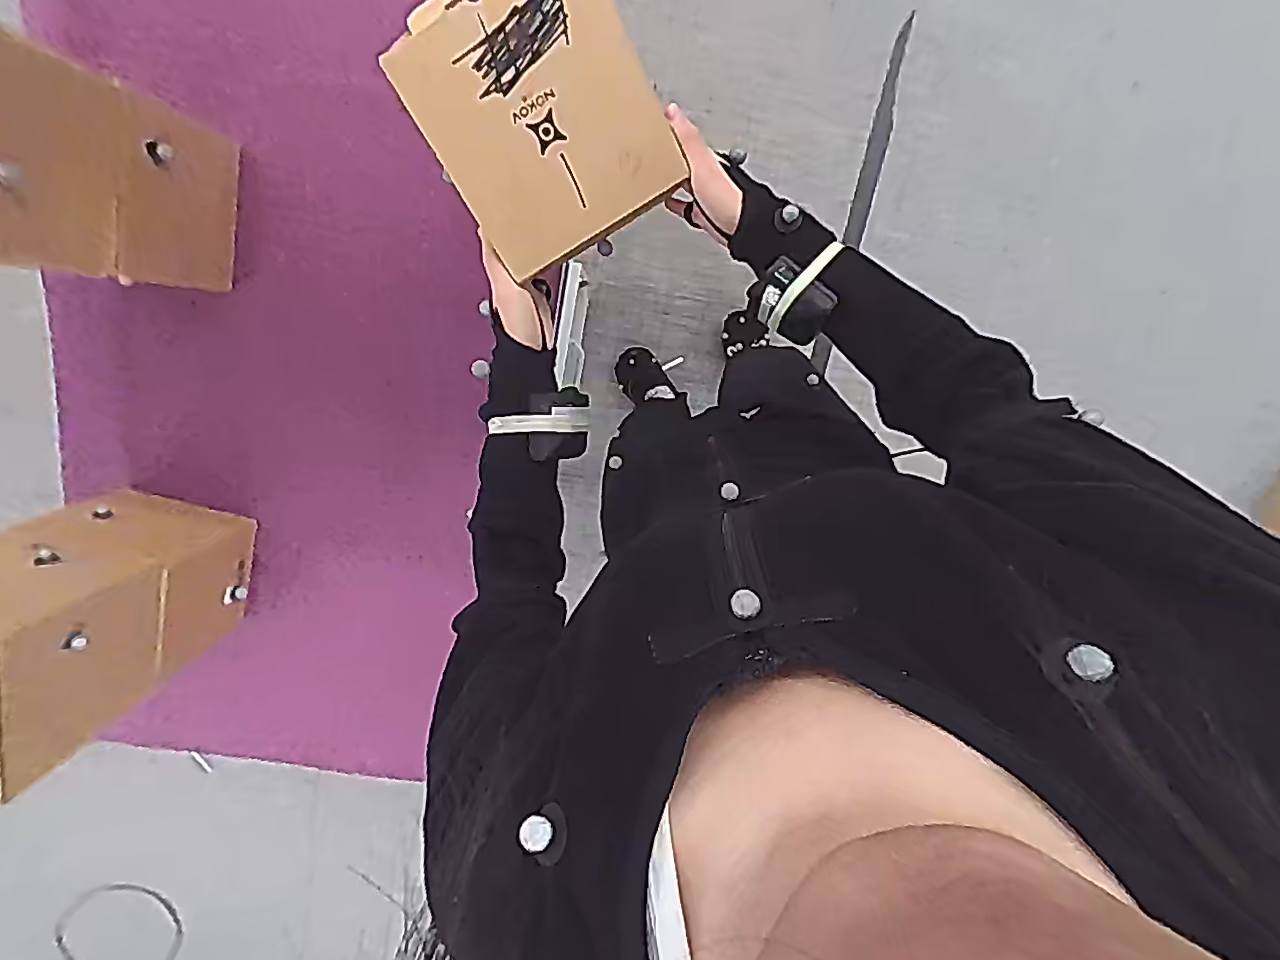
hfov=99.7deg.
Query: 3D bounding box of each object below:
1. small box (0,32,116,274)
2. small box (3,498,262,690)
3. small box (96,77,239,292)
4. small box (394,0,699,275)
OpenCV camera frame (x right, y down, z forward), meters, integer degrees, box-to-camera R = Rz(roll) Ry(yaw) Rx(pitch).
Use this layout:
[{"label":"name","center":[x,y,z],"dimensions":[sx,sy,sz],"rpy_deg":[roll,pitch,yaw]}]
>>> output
[{"label":"small box","center":[-0.566,-0.273,0.421],"dimensions":[0.168,0.176,0.179],"rpy_deg":[14,104,-6]},{"label":"small box","center":[-0.632,0.133,0.691],"dimensions":[0.179,0.176,0.168],"rpy_deg":[14,104,-7]},{"label":"small box","center":[-0.570,-0.314,0.579],"dimensions":[0.168,0.176,0.179],"rpy_deg":[13,104,-5]},{"label":"small box","center":[-0.068,-0.299,0.472],"dimensions":[0.168,0.176,0.179],"rpy_deg":[-27,111,9]}]
